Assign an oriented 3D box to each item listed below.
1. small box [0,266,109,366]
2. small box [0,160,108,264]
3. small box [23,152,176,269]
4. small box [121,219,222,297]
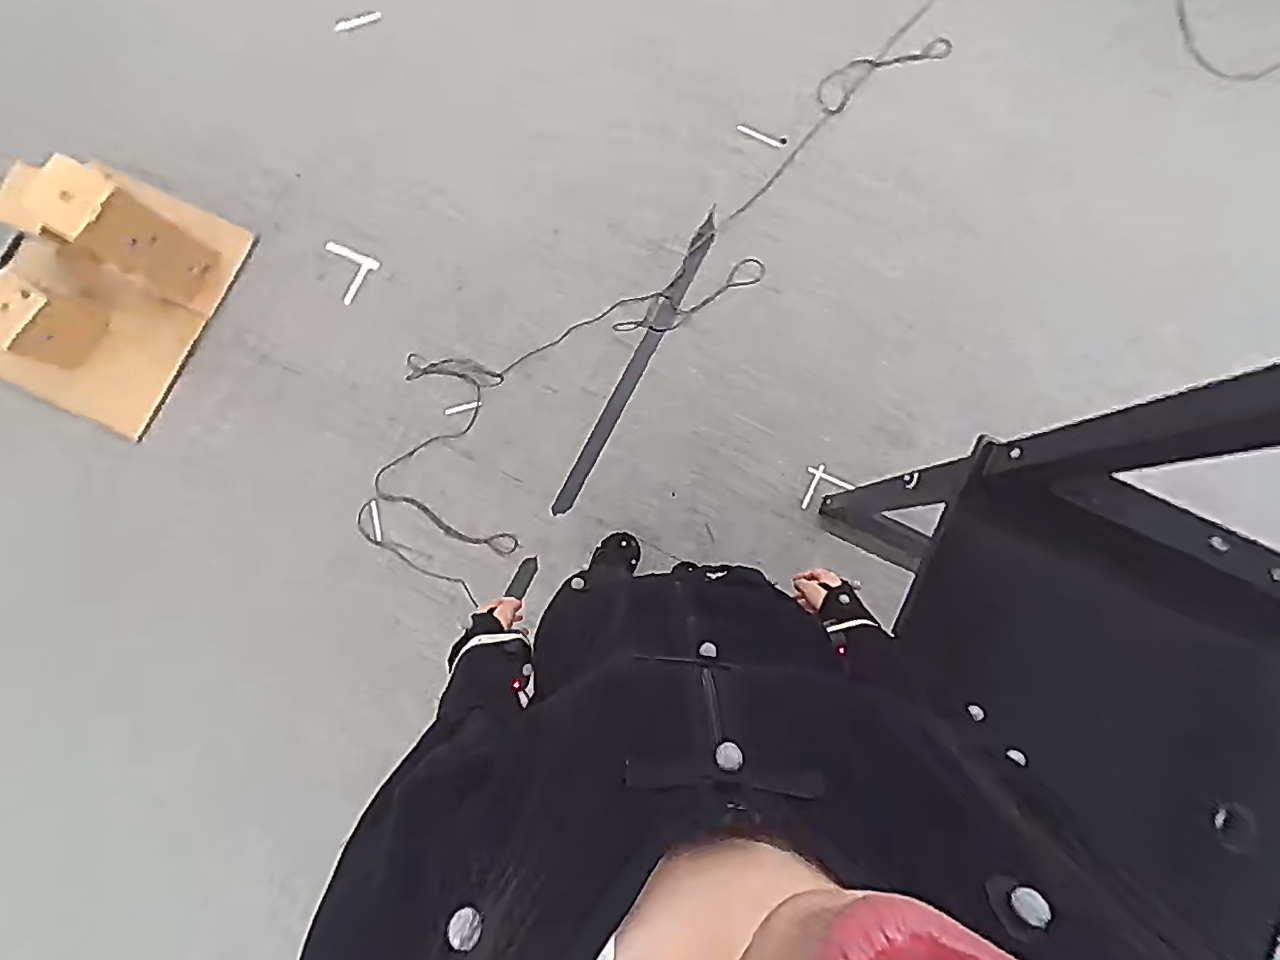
[{"bbox_3d":[-1.653,-0.444,1.497,0.168,0.176,0.179,34,86,4],"label":"small box"},{"bbox_3d":[-1.636,-0.757,1.539,0.168,0.176,0.179,20,83,4],"label":"small box"},{"bbox_3d":[-1.347,-0.667,1.361,0.179,0.176,0.168,29,84,2],"label":"small box"},{"bbox_3d":[-1.348,-0.647,1.523,0.179,0.176,0.168,26,85,2],"label":"small box"}]
